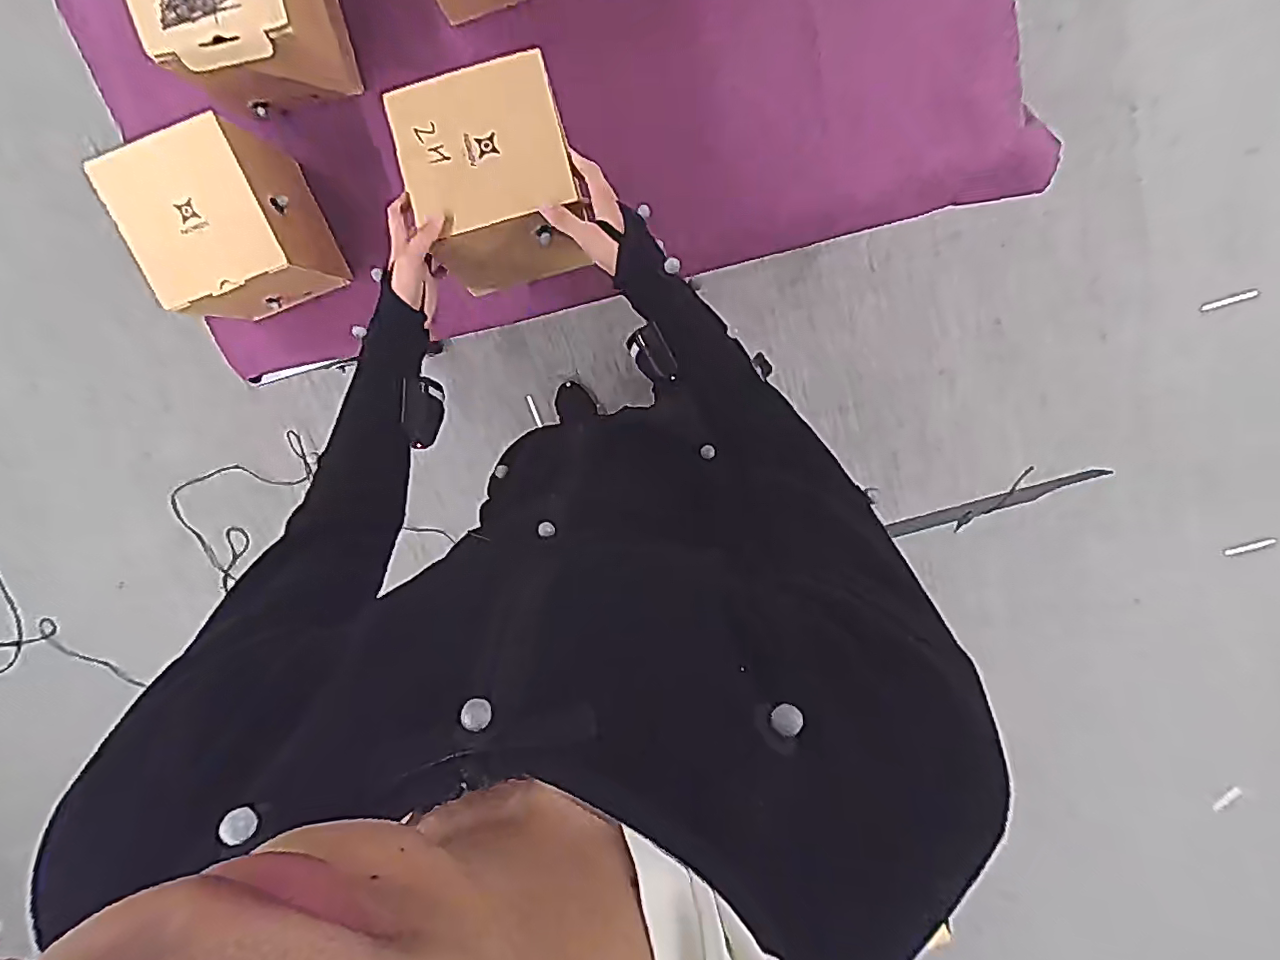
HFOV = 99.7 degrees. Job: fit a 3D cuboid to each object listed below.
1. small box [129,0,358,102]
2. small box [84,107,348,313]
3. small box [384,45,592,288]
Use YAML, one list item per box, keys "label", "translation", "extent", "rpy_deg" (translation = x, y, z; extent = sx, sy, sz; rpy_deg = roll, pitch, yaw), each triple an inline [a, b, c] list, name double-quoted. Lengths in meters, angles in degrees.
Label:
- label: "small box"
  translation: [-0.468, -0.578, 0.637]
  extent: [0.168, 0.176, 0.179]
  rpy_deg: [-11, 105, 1]
- label: "small box"
  translation: [-0.524, -0.331, 0.701]
  extent: [0.168, 0.176, 0.179]
  rpy_deg: [-20, 105, 2]
- label: "small box"
  translation: [-0.161, -0.349, 0.638]
  extent: [0.179, 0.176, 0.168]
  rpy_deg: [-14, 91, 4]
